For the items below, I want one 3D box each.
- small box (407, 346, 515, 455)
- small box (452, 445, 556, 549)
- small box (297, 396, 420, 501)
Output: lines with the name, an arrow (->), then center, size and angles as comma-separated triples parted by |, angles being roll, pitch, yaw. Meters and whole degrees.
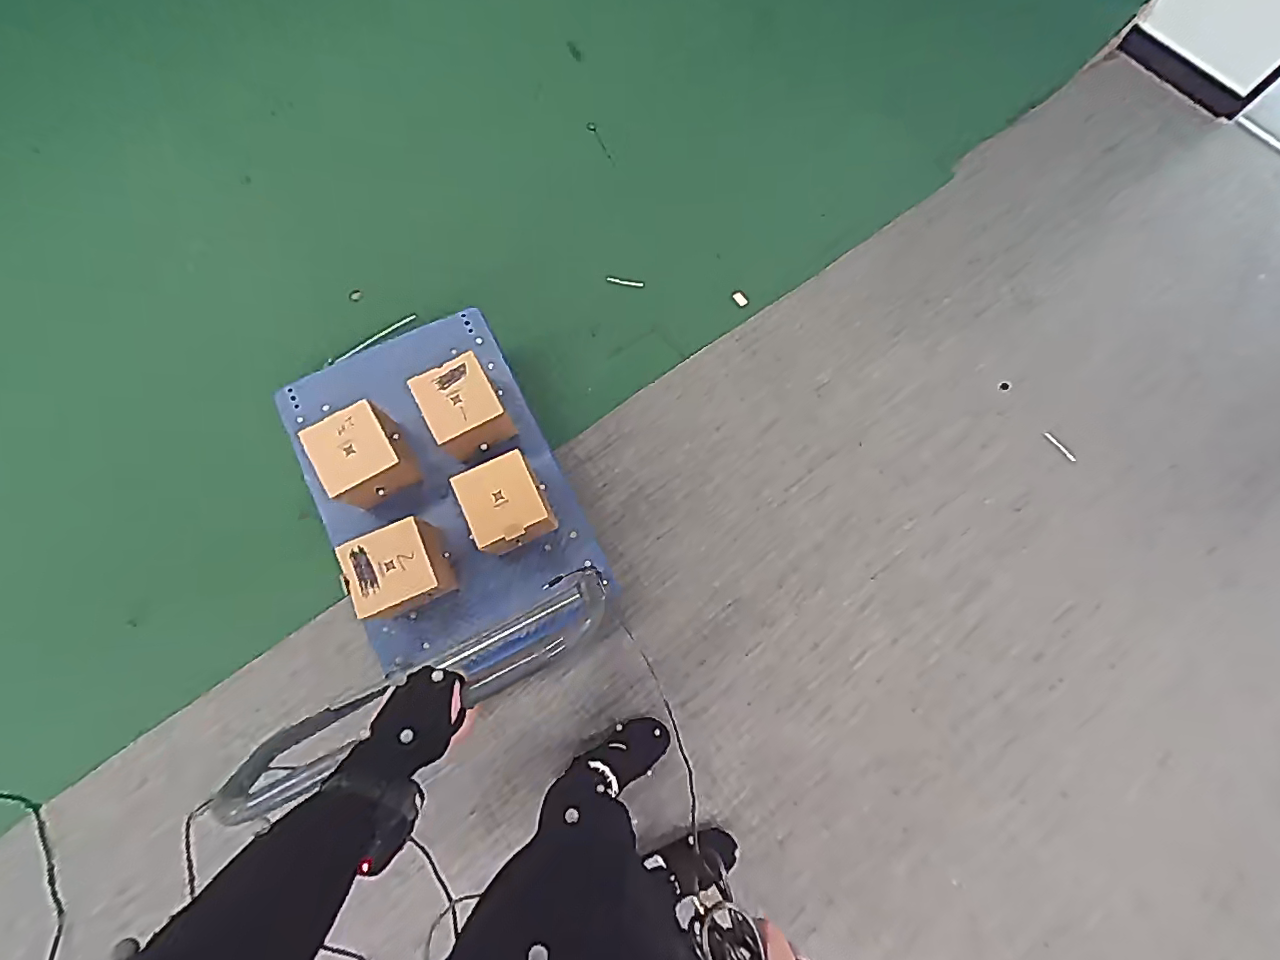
small box -> -0.420, -0.183, 1.295 | 0.168, 0.176, 0.179 | -28, 82, -7
small box -> -0.308, 0.046, 1.255 | 0.168, 0.176, 0.179 | -26, 81, -6
small box -> -0.645, -0.063, 1.262 | 0.168, 0.176, 0.179 | -30, 81, -8
